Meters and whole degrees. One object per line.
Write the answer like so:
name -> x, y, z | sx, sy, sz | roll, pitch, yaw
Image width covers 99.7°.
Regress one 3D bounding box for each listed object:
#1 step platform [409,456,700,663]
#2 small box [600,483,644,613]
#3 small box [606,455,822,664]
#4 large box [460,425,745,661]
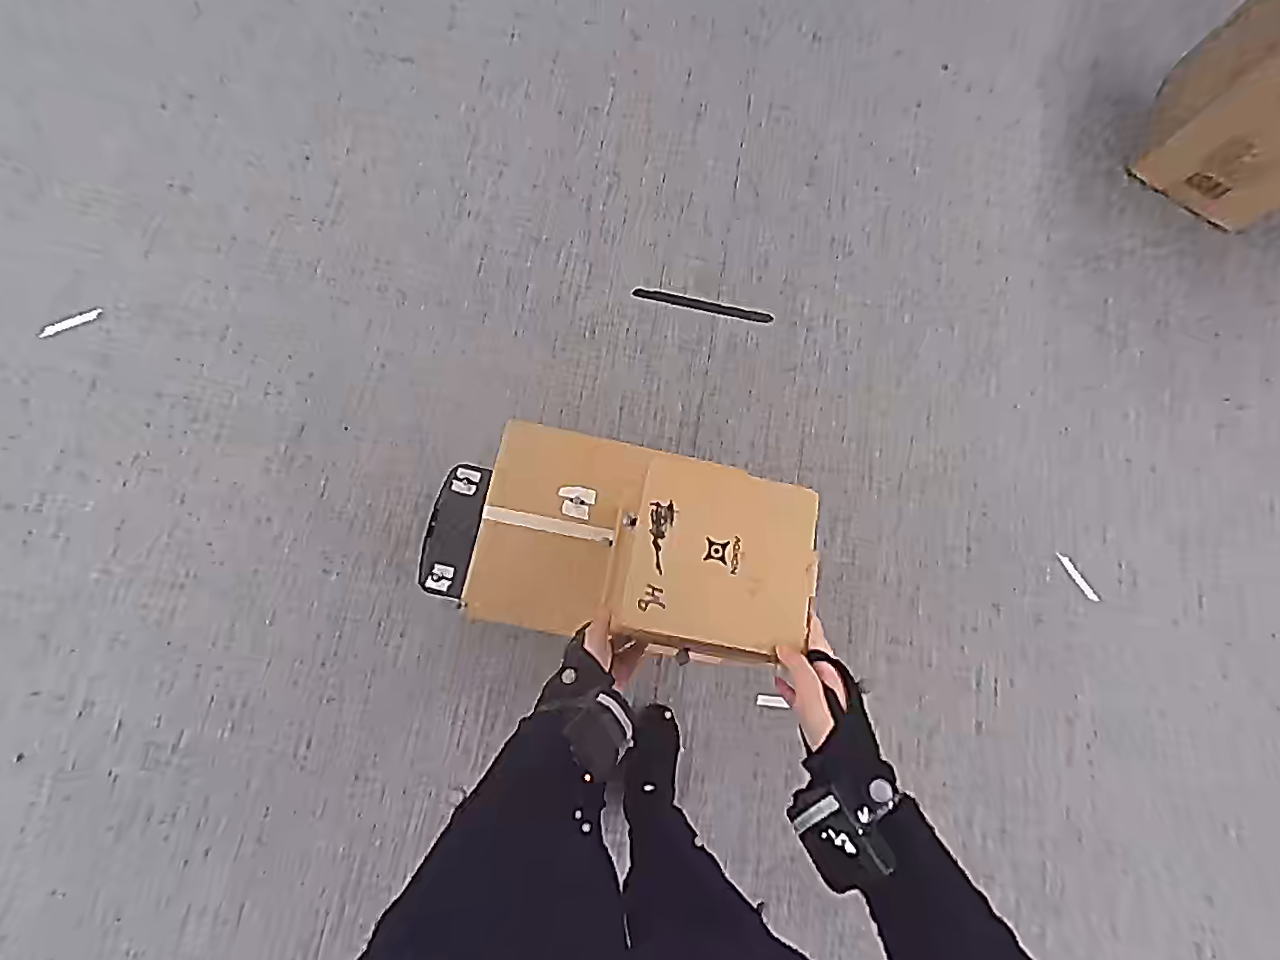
step platform -> -0.139, 0.178, 1.204 | 0.684, 0.204, 0.286 | 17, 77, -2
small box -> 0.047, 0.114, 0.743 | 0.179, 0.176, 0.168 | 12, 77, -3
small box -> 0.069, 0.093, 0.574 | 0.179, 0.176, 0.168 | 12, 71, -4
large box -> -0.058, 0.123, 0.981 | 0.408, 0.320, 0.320 | 11, 76, -3
